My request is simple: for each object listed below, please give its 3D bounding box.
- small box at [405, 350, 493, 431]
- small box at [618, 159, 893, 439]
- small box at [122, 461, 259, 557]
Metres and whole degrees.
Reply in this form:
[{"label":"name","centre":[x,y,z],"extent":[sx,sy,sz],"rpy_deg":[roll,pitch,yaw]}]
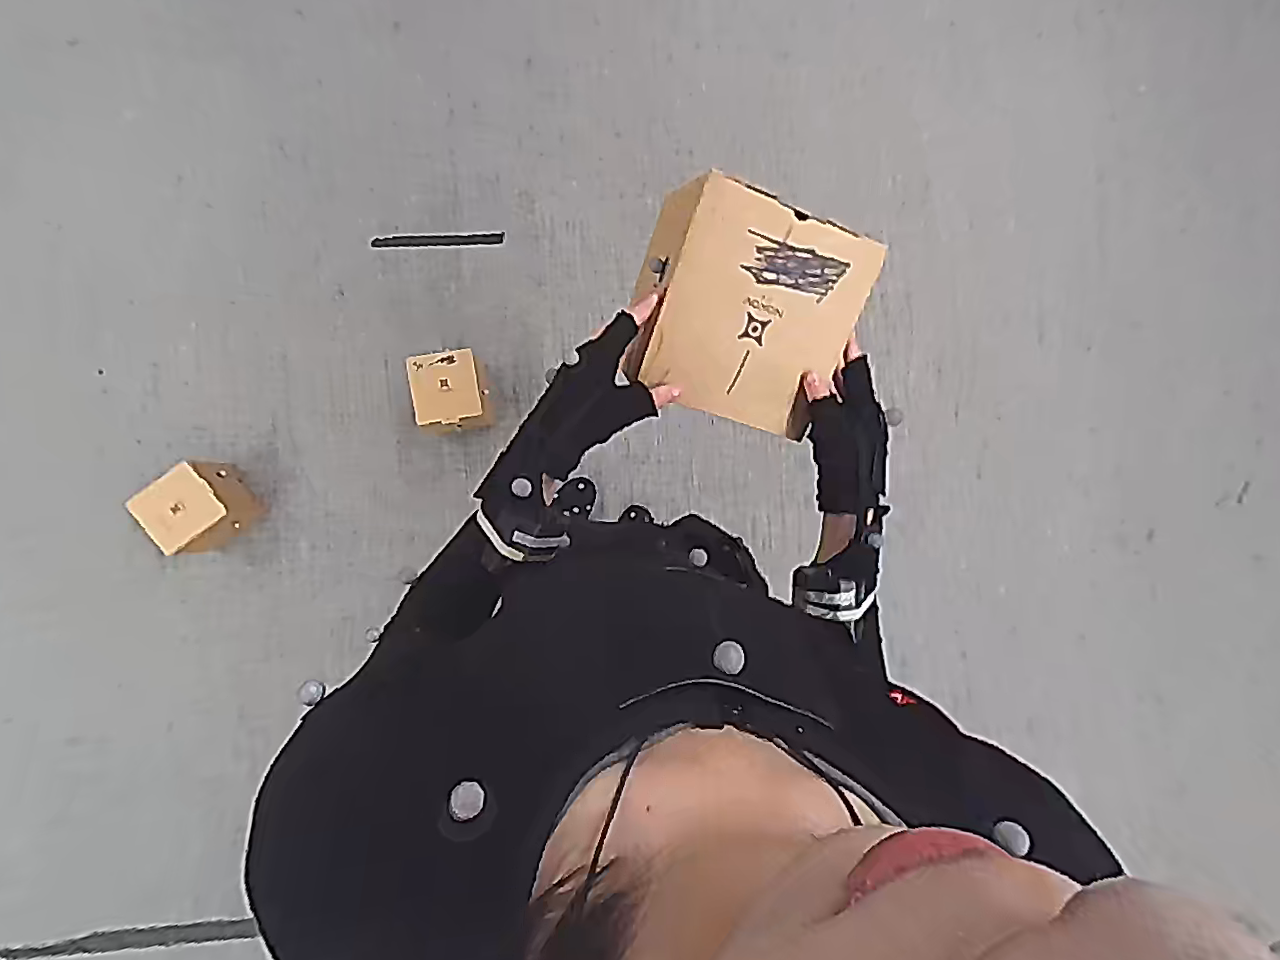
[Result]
[{"label":"small box","centre":[-0.493,-0.226,1.418],"extent":[0.168,0.176,0.179],"rpy_deg":[-9,89,-5]},{"label":"small box","centre":[0.086,-0.163,0.506],"extent":[0.168,0.176,0.179],"rpy_deg":[15,108,-16]},{"label":"small box","centre":[-1.109,0.070,1.359],"extent":[0.179,0.176,0.168],"rpy_deg":[-39,90,-4]}]
